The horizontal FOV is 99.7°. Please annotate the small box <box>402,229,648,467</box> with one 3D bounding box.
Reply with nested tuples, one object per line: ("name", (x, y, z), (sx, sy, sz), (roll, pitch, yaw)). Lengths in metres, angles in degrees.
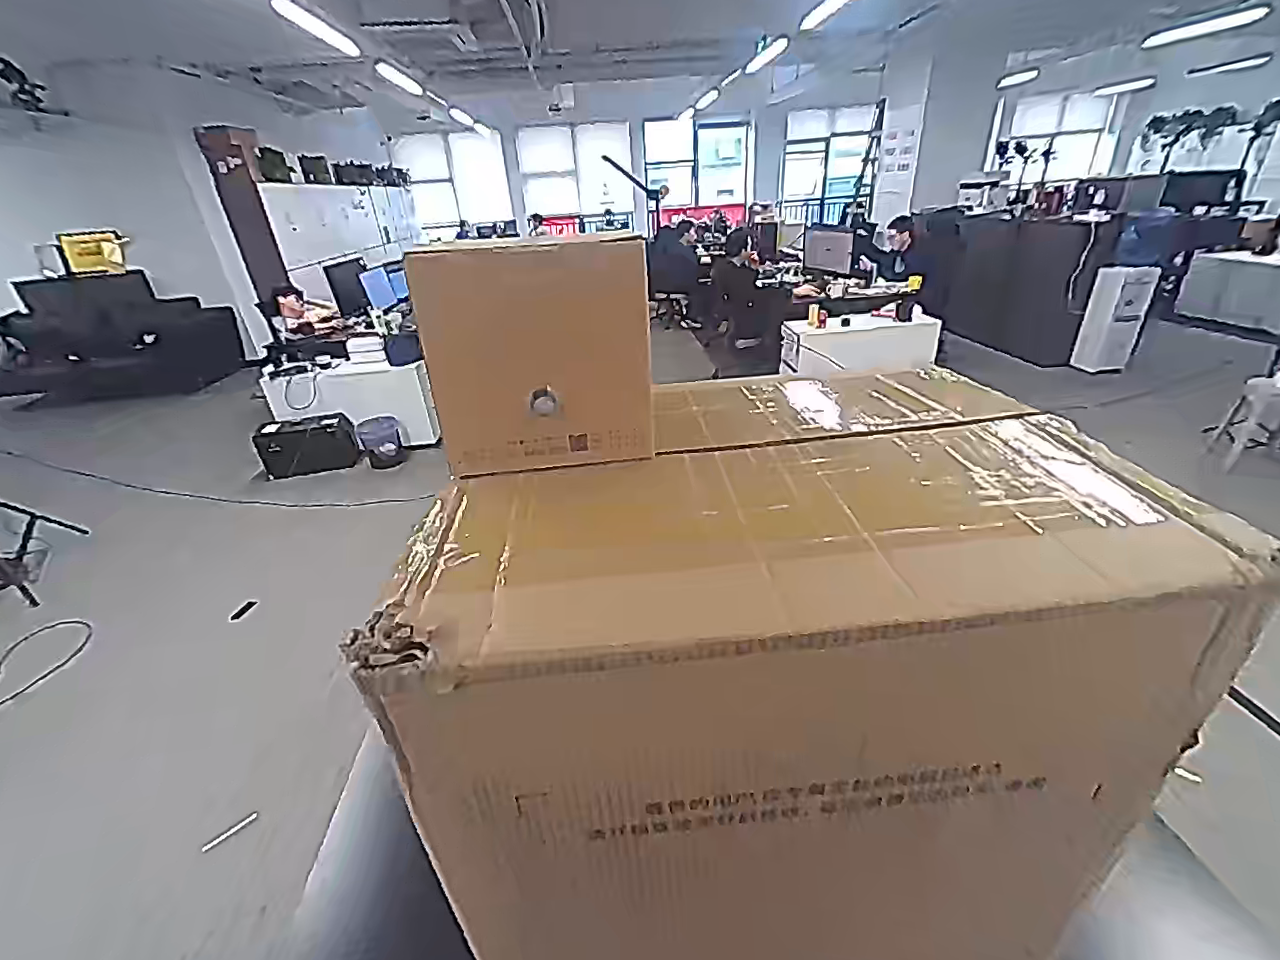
("small box", (-0.086, -0.124, 0.478), (0.168, 0.176, 0.179), (-6, 26, -5))
